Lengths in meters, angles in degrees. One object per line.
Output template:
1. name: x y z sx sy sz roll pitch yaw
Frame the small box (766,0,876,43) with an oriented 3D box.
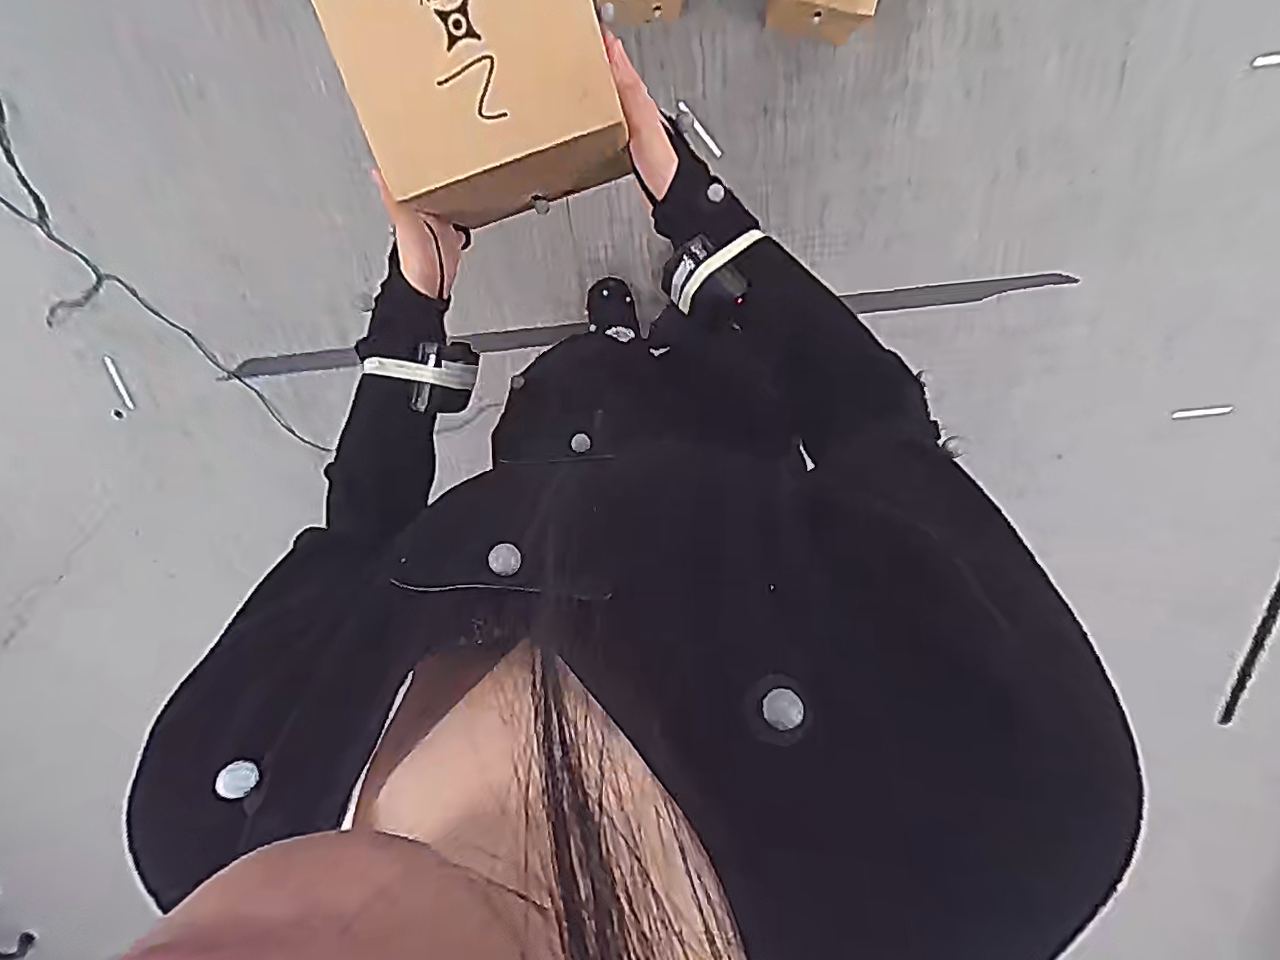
1. small box: 0.362 -0.981 1.044 0.179 0.176 0.168 10 114 -3

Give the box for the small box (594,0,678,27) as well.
1. small box: -0.011 -1.002 1.033 0.168 0.176 0.179 -5 113 1

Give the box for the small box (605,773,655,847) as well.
1. small box: -0.034 1.226 2.014 0.168 0.176 0.179 -8 115 3

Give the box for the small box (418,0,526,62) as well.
1. small box: -0.329 -0.945 1.054 0.168 0.176 0.179 -5 112 2
